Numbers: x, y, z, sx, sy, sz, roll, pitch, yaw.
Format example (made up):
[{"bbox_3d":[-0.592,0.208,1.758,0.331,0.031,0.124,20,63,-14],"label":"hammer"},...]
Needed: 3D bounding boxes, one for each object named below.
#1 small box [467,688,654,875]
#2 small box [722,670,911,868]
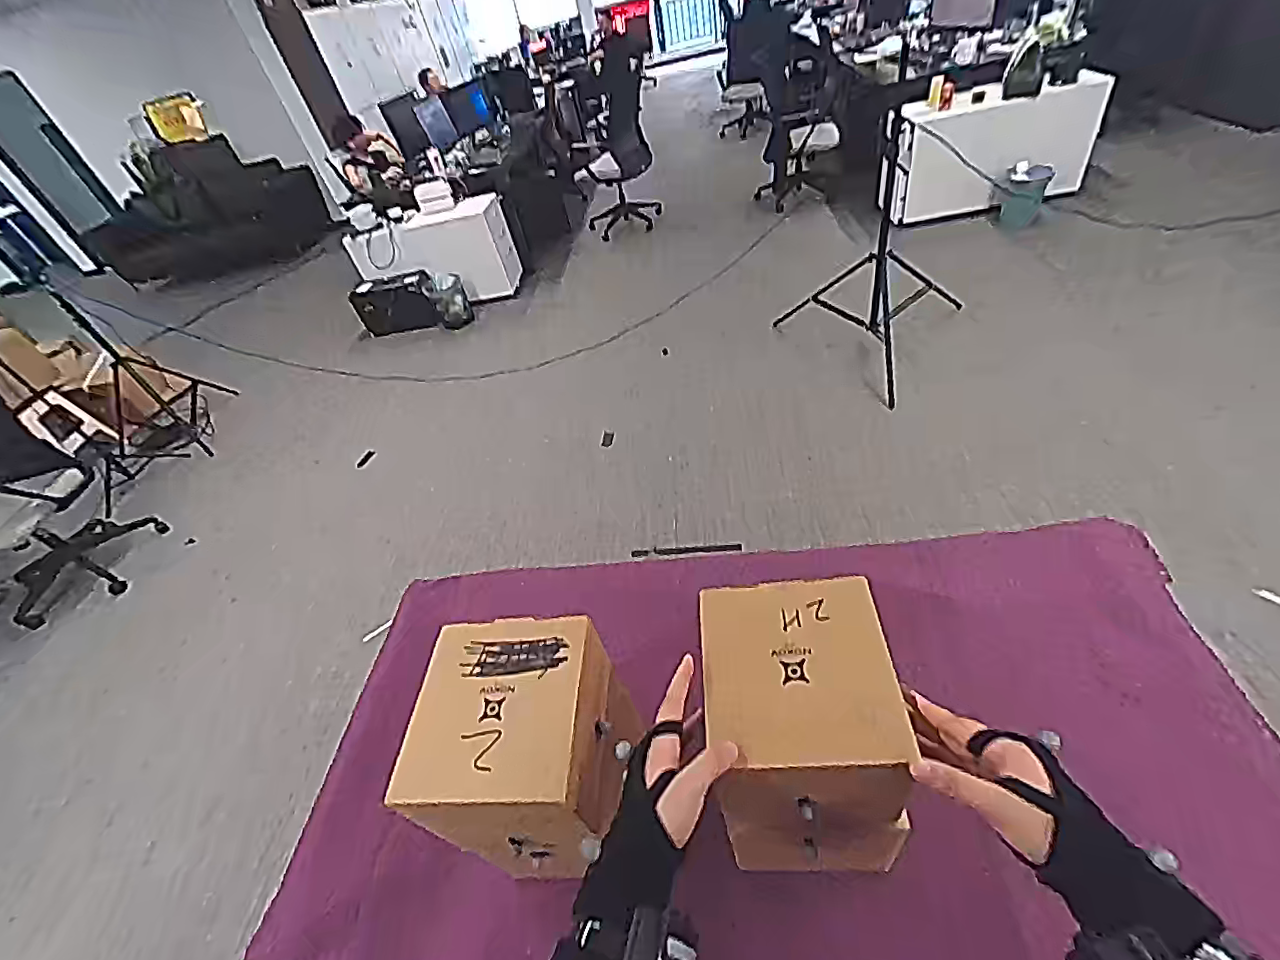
[{"bbox_3d":[-0.085,0.382,0.682,0.179,0.176,0.168,-6,43,9],"label":"small box"},{"bbox_3d":[0.195,0.344,0.643,0.179,0.176,0.168,-7,43,10],"label":"small box"}]
